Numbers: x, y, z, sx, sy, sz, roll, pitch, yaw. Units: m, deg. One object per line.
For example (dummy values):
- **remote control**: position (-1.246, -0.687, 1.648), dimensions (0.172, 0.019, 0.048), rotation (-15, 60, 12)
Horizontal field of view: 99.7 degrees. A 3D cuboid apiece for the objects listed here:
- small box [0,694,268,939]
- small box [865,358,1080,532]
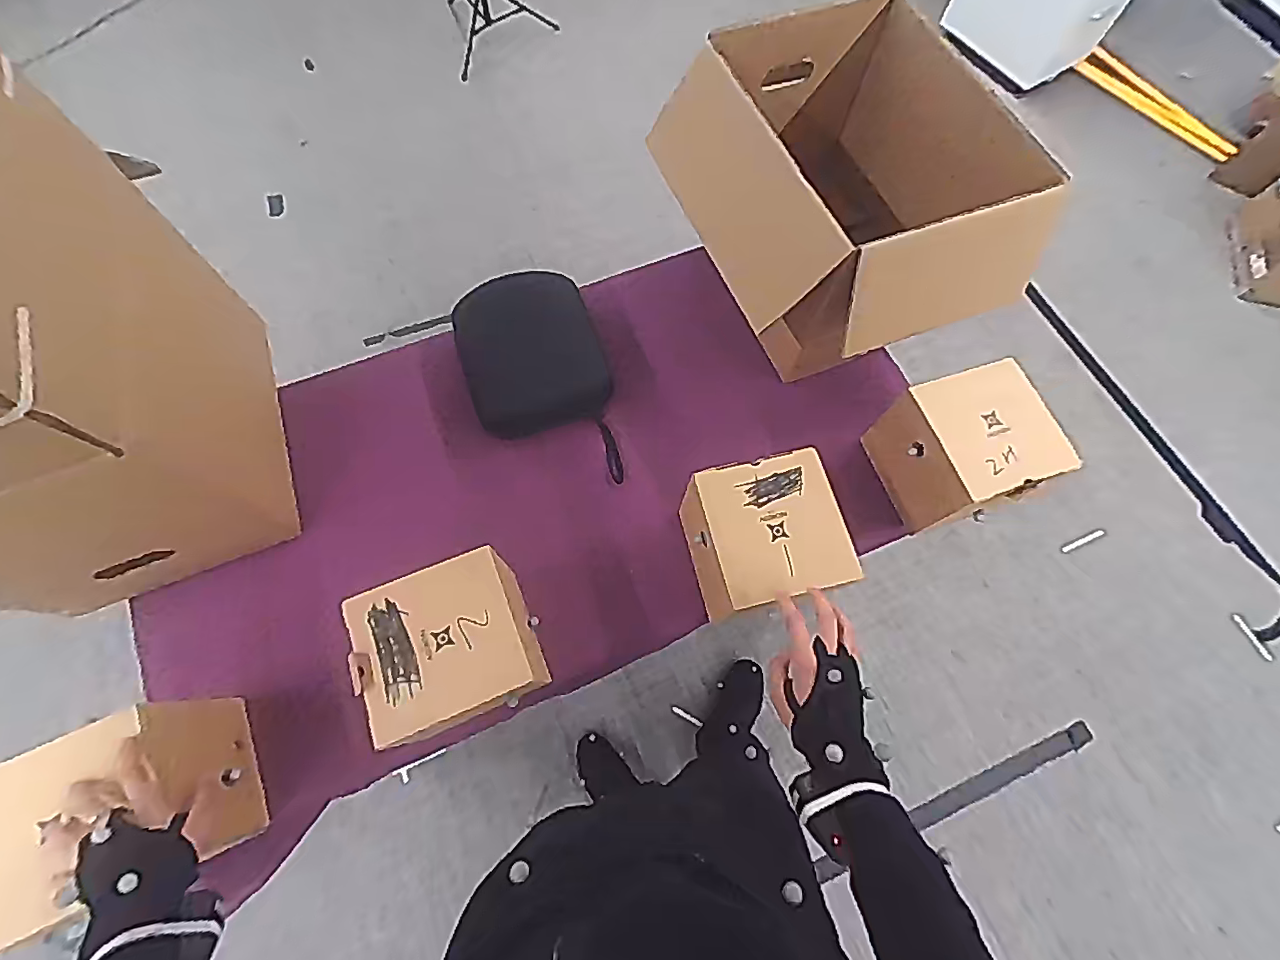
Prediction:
- **small box**: position (-0.568, 0.358, 0.605), dimensions (0.179, 0.176, 0.168), rotation (-23, 72, -11)
- **small box**: position (0.461, -0.044, 0.786), dimensions (0.168, 0.176, 0.179), rotation (-17, 71, -7)
